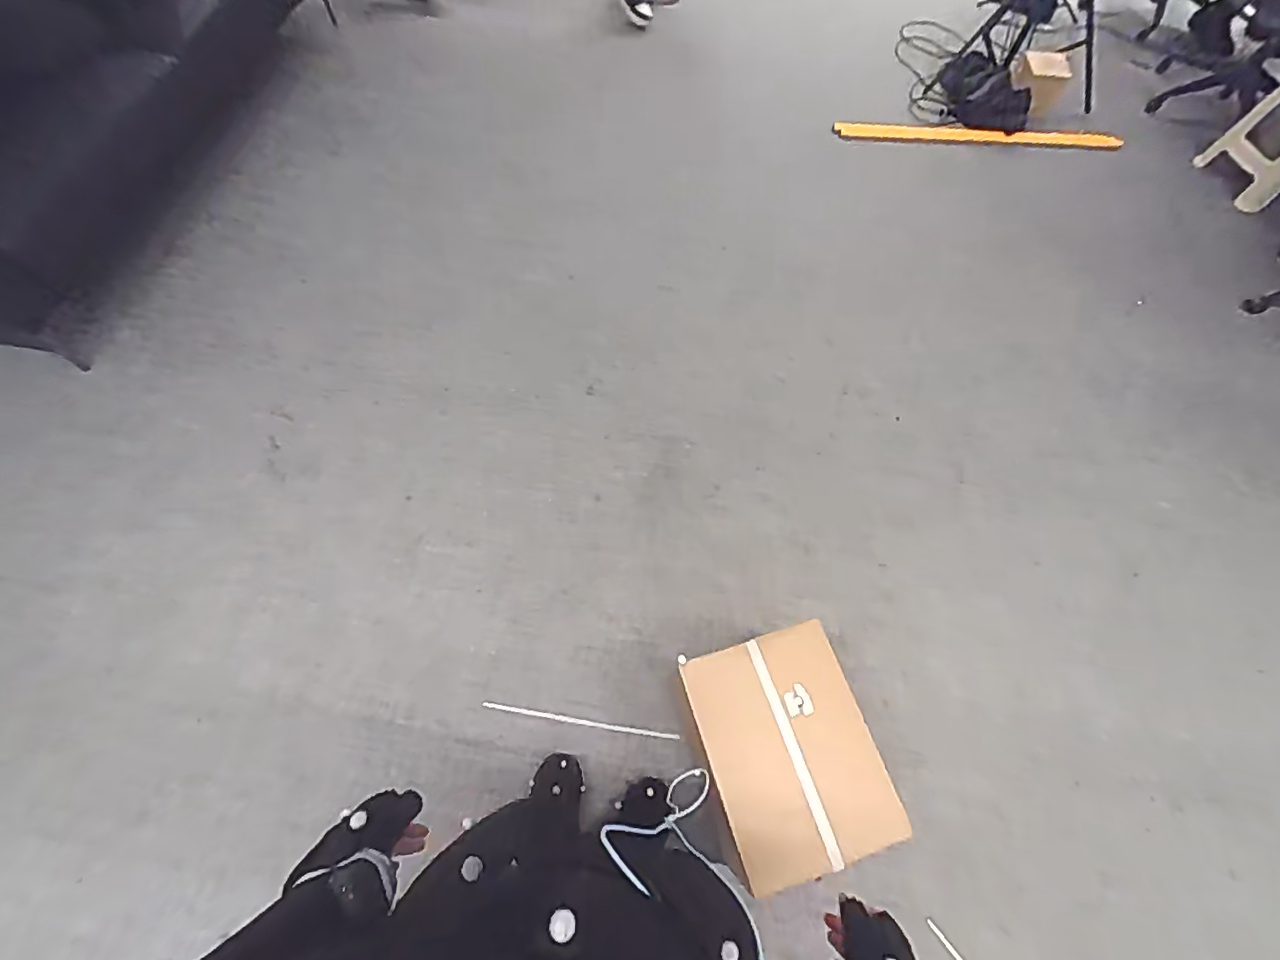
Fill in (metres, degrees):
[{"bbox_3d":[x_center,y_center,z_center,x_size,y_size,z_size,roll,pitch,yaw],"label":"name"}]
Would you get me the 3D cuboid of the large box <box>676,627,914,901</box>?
[{"bbox_3d":[0.290,0.583,1.162,0.320,0.320,0.408,-15,64,-9],"label":"large box"}]
